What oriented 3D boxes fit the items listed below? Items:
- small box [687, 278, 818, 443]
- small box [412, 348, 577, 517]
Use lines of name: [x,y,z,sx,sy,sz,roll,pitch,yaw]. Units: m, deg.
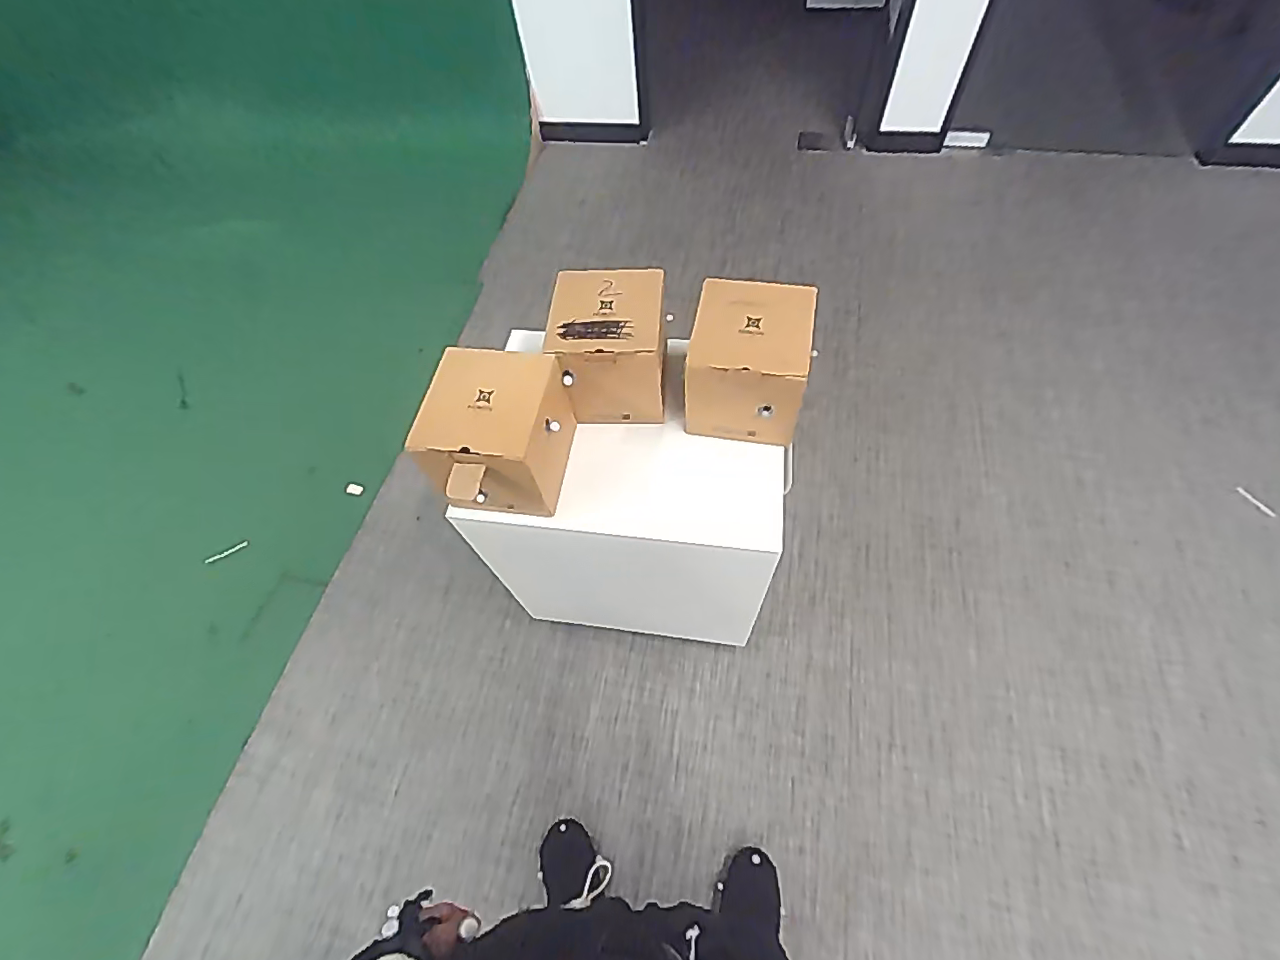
small box: [0.167,-0.177,0.825,0.168,0.176,0.179,9,61,9]
small box: [-0.196,-0.067,0.792,0.168,0.176,0.179,6,60,8]
